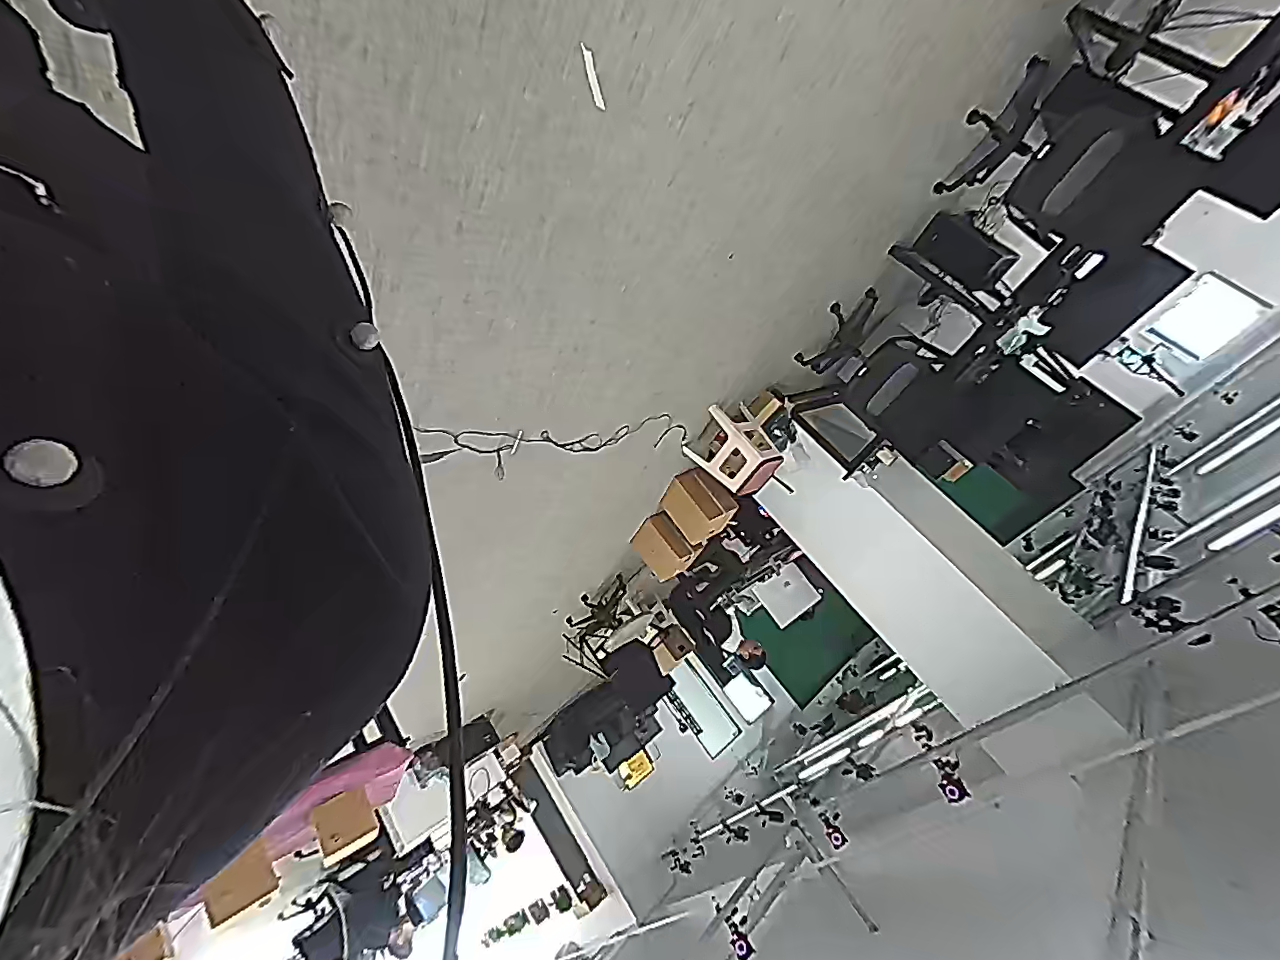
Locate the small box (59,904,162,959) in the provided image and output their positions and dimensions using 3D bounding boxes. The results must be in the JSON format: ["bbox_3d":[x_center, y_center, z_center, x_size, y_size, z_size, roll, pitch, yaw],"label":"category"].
[{"bbox_3d":[-1.455,1.326,1.489,0.179,0.176,0.168,-19,150,-43],"label":"small box"}]

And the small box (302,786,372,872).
[{"bbox_3d":[-1.064,1.216,1.889,0.179,0.176,0.168,-16,149,-41],"label":"small box"}]
